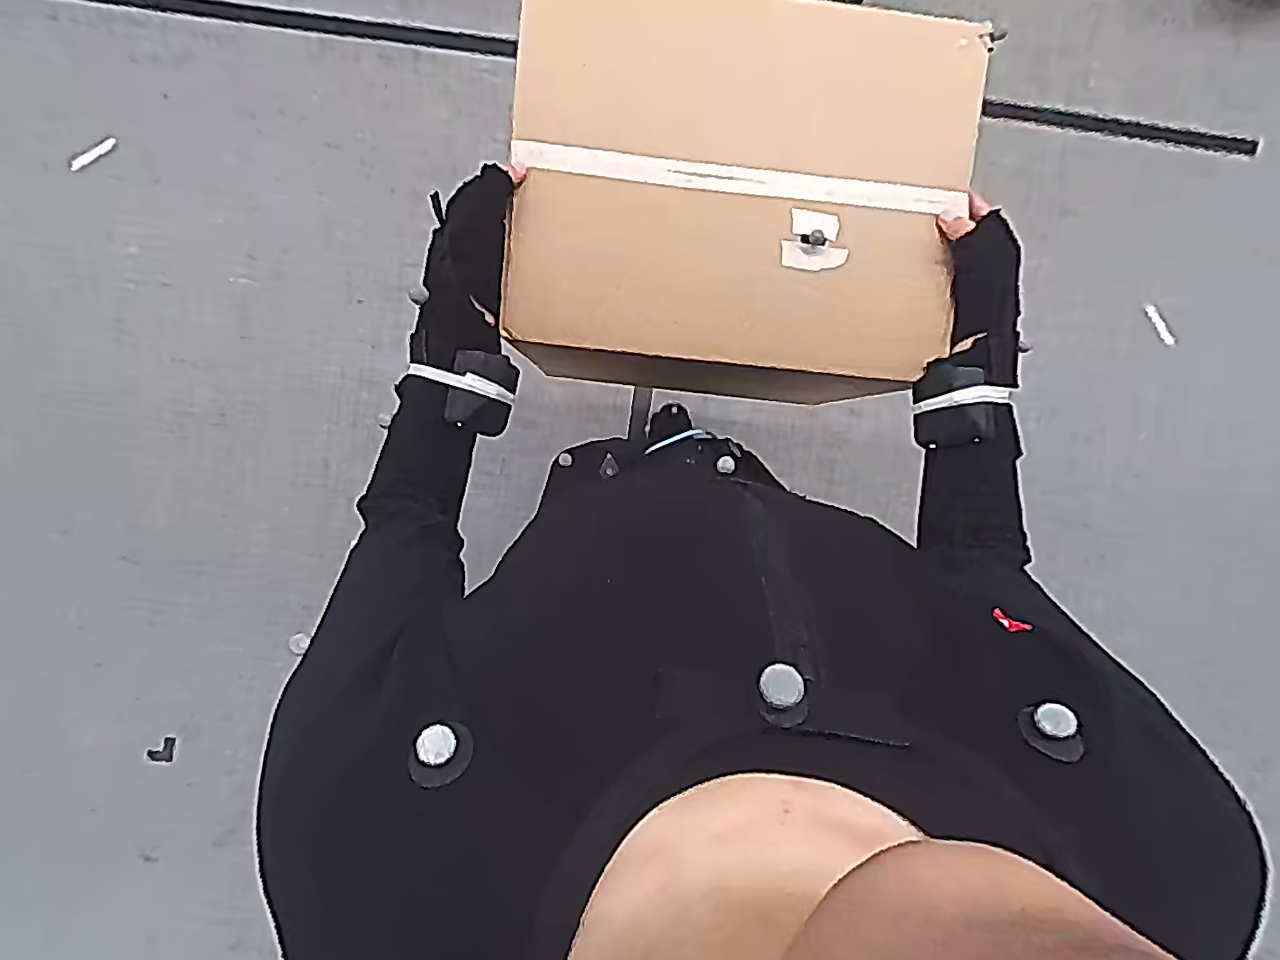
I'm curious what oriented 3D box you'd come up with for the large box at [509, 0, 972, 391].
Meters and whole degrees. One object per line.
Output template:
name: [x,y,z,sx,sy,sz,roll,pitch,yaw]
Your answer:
large box: [0.081,-0.286,0.634,0.408,0.320,0.320,5,96,-4]
